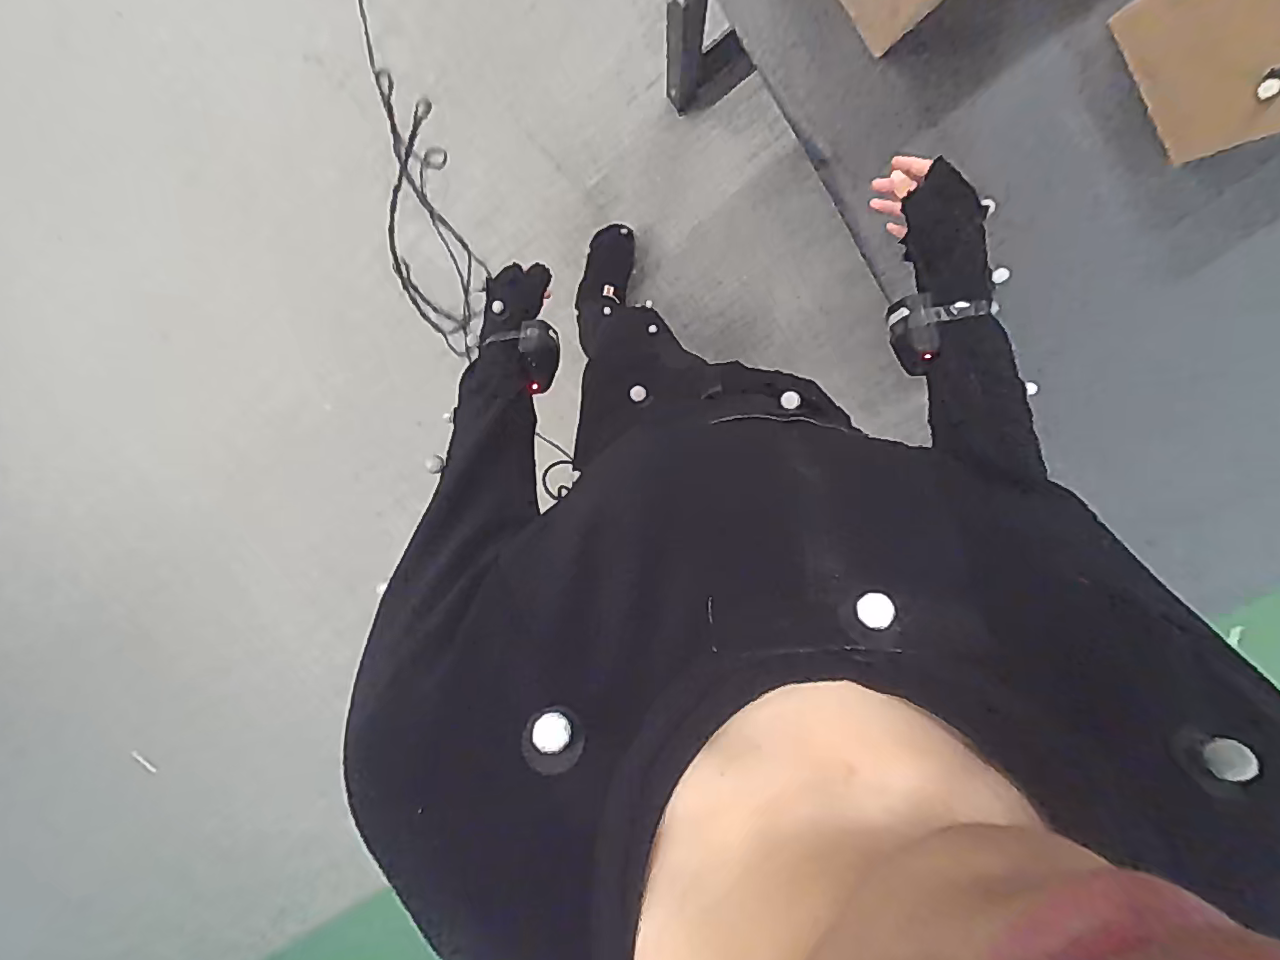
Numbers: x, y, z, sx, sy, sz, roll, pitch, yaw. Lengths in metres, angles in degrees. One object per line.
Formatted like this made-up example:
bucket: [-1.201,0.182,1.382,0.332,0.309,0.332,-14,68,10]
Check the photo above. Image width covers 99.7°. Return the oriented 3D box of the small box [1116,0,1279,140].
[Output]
small box: [0.600,-0.444,0.485,0.168,0.176,0.179,-36,101,11]
